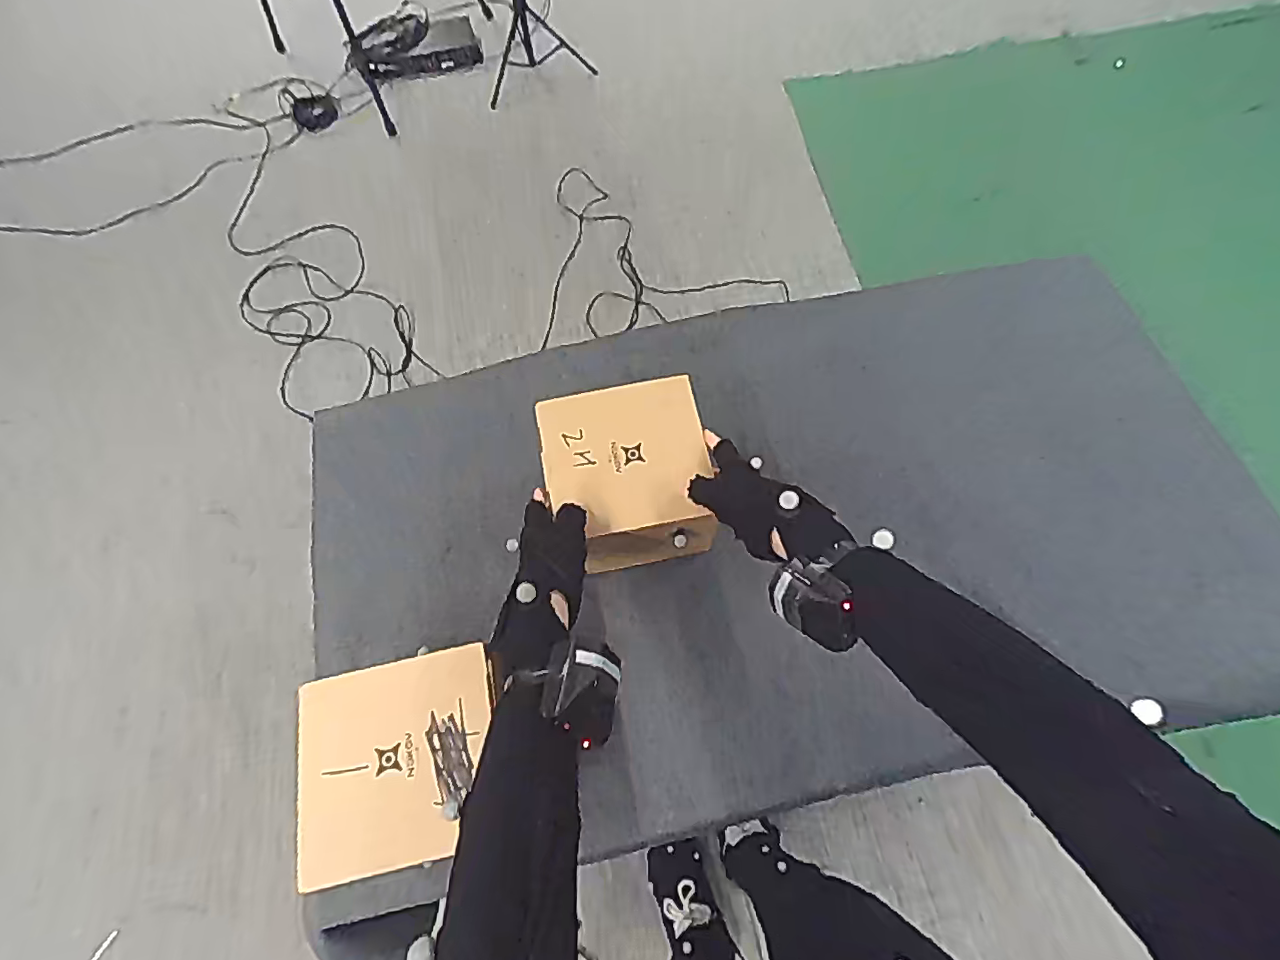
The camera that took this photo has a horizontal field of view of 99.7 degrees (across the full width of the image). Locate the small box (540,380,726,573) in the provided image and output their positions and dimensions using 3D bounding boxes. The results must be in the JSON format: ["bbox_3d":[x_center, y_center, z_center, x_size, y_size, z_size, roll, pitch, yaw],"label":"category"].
[{"bbox_3d":[-0.011,0.004,0.645,0.179,0.176,0.168,-10,69,-2],"label":"small box"}]

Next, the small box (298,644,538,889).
[{"bbox_3d":[-0.207,0.271,0.545,0.179,0.176,0.168,-12,68,-3],"label":"small box"}]
